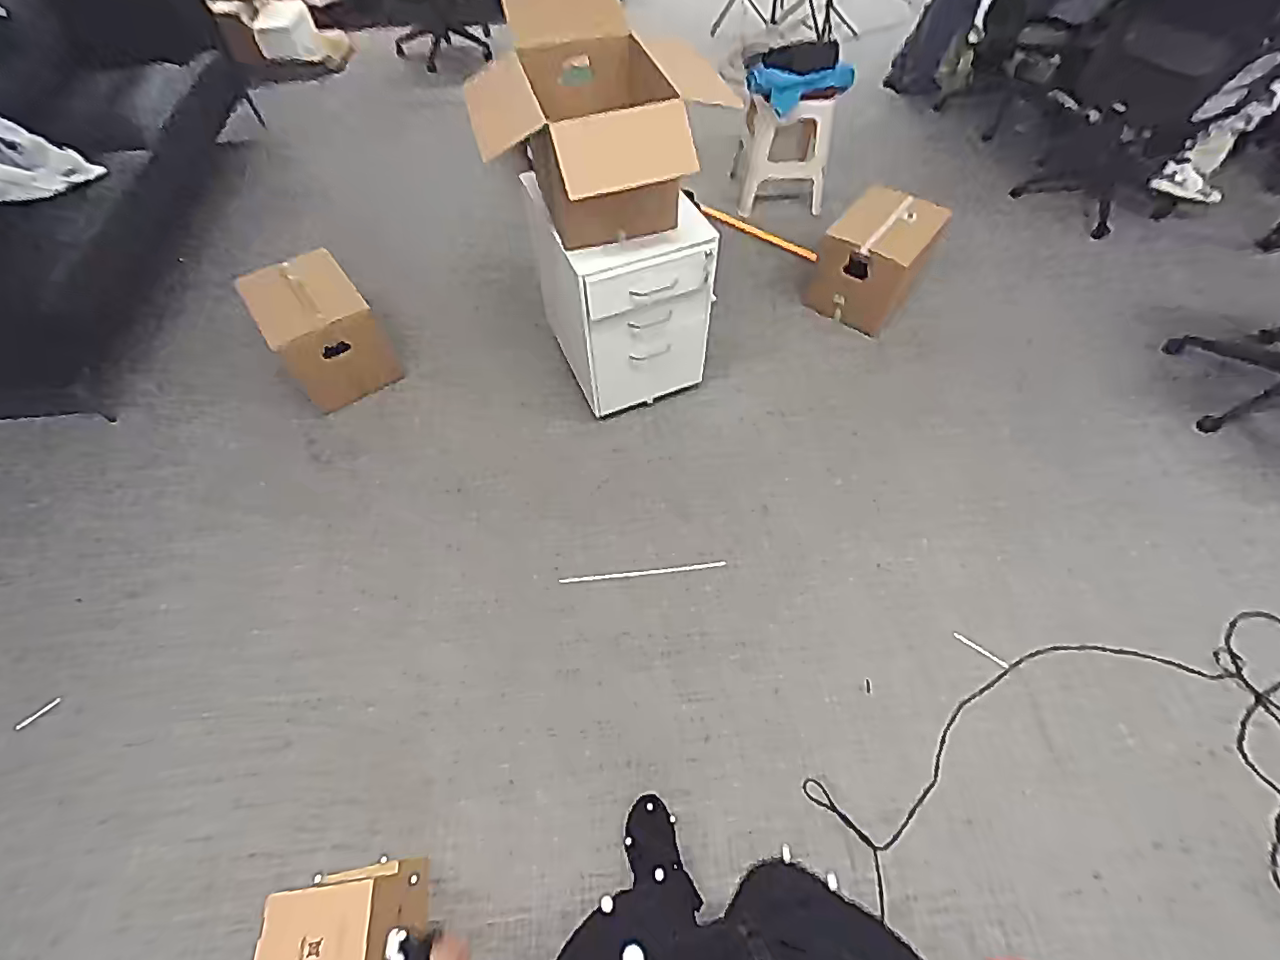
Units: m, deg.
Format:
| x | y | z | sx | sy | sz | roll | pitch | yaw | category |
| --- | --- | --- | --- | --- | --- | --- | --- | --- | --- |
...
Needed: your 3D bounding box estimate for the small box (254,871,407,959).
| x | y | z | sx | sy | sz | roll | pitch | yaw | category |
| --- | --- | --- | --- | --- | --- | --- | --- | --- | --- |
| -0.525 | 0.788 | 0.928 | 0.179 | 0.176 | 0.168 | -6 | 58 | -4 | small box |
